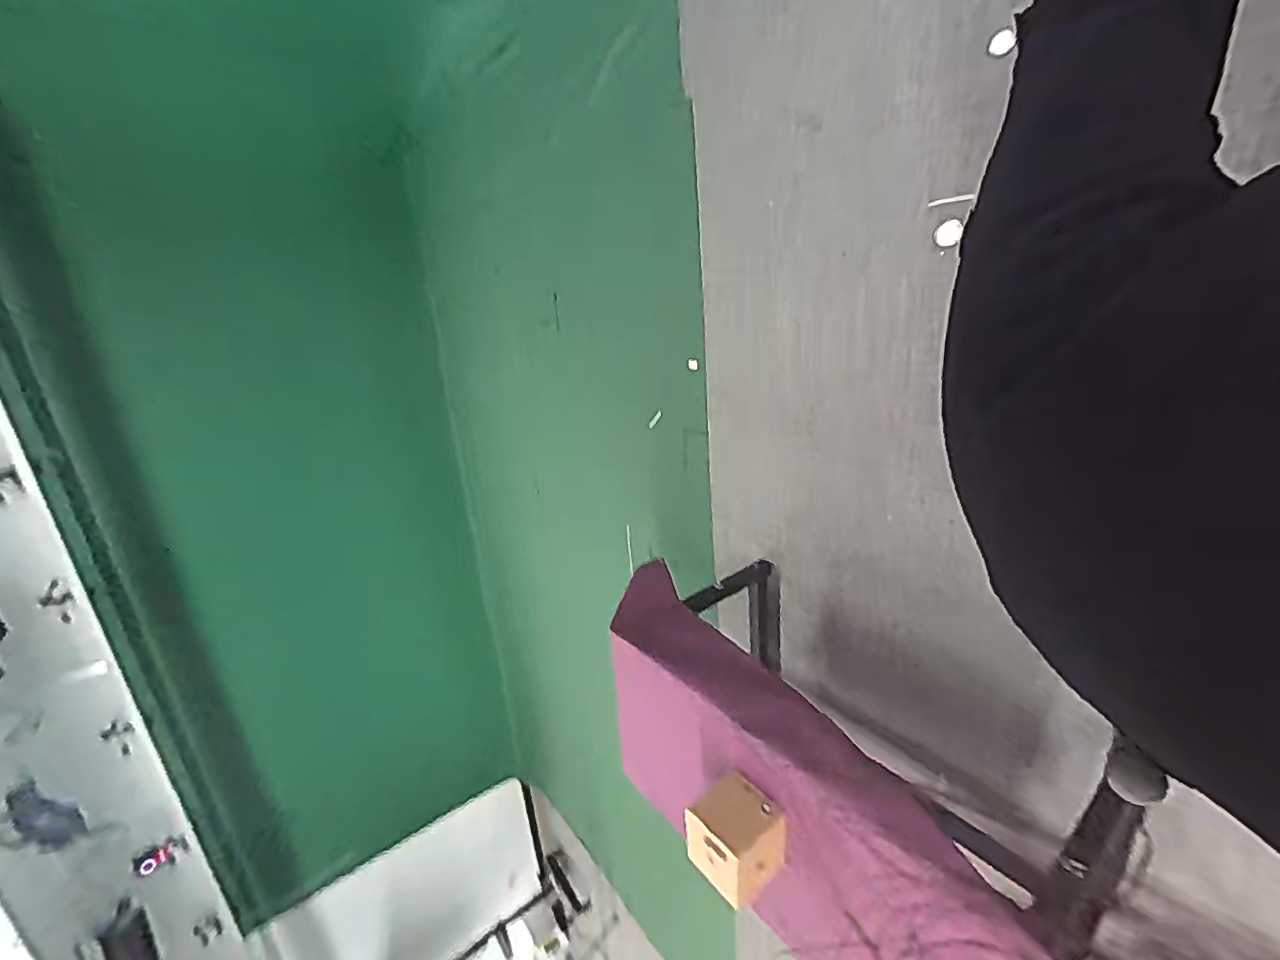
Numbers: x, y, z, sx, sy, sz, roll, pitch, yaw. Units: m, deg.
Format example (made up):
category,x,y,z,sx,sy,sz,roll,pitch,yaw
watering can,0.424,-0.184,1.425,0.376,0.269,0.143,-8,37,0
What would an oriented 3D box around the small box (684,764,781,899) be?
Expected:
category,x,y,z,sx,sy,sz,roll,pitch,yaw
small box,0.223,0.833,1.302,0.168,0.176,0.179,22,122,49
